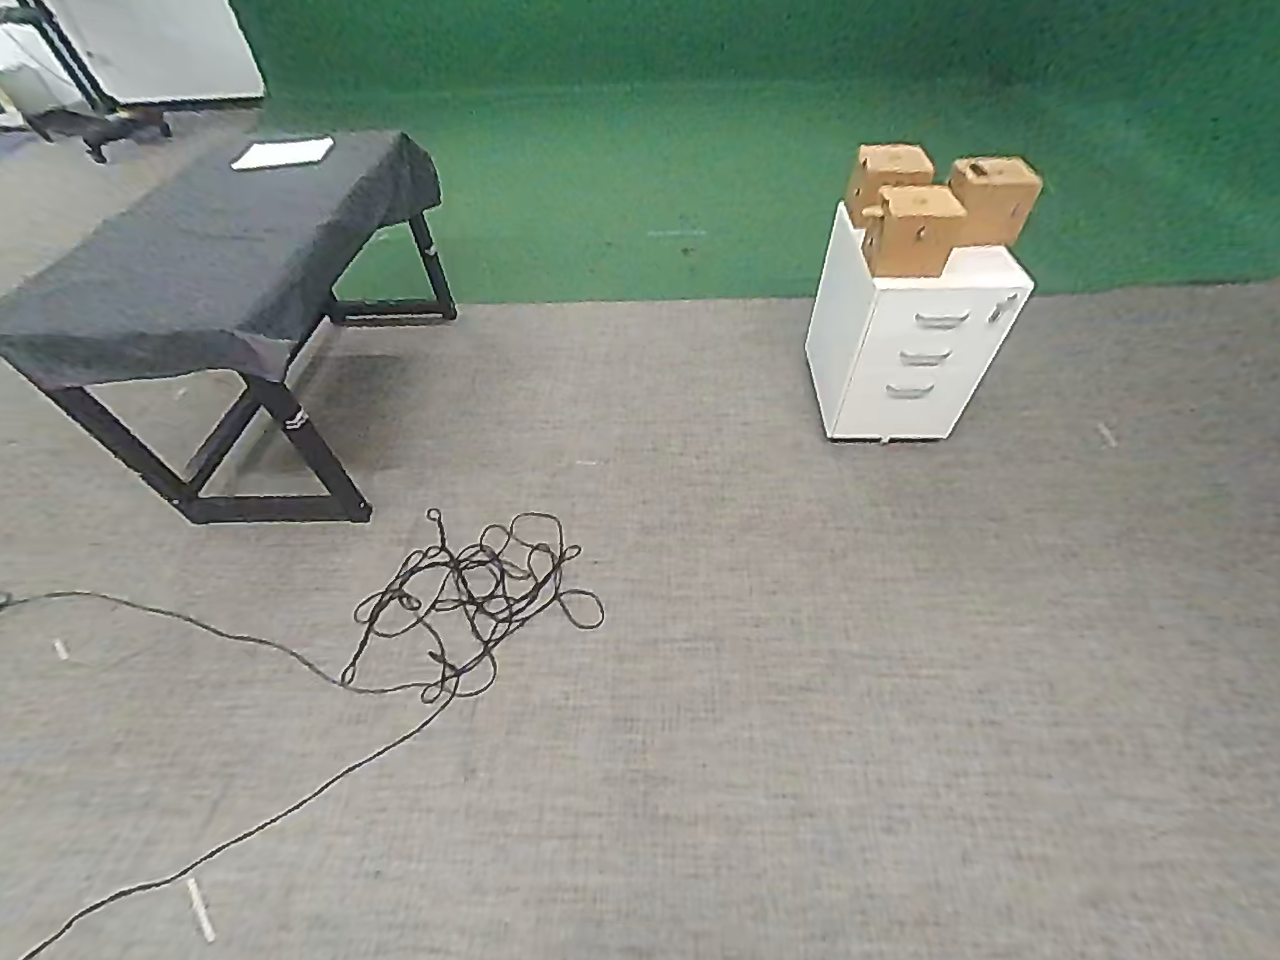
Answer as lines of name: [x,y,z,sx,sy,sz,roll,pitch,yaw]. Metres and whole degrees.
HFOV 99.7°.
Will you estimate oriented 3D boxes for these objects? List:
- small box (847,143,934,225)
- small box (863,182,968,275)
small box: [0.719,-0.859,1.577,0.179,0.176,0.168,2,52,3]
small box: [0.703,-0.648,1.401,0.179,0.176,0.168,1,50,4]
